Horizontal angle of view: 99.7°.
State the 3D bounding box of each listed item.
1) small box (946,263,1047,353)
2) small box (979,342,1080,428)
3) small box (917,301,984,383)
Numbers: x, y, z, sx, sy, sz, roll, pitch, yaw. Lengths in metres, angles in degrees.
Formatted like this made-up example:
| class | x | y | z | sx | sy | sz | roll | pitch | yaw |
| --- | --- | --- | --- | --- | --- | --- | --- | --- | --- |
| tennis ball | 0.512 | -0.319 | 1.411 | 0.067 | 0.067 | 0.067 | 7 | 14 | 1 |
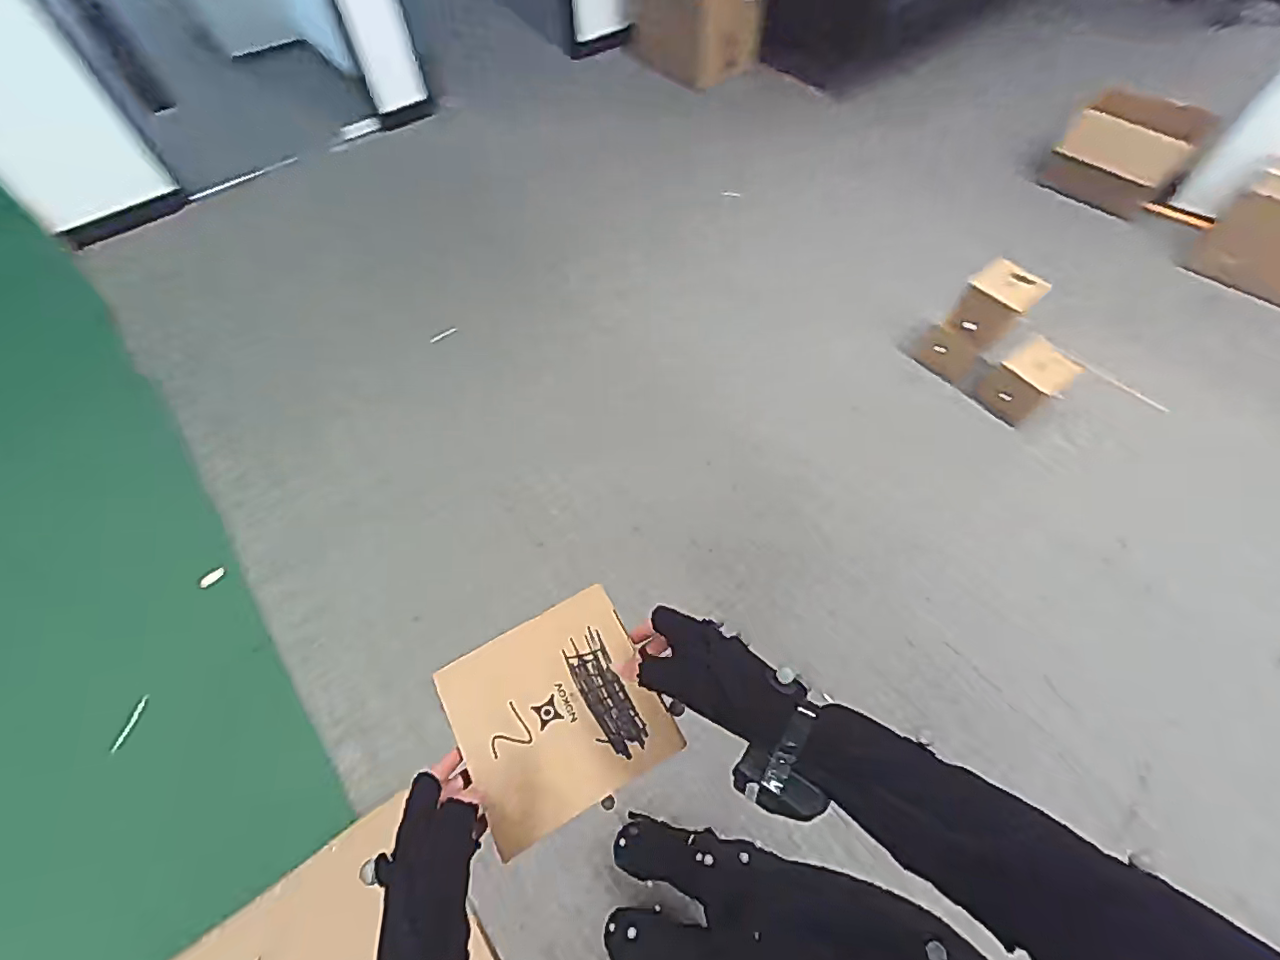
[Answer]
| class | x | y | z | sx | sy | sz | roll | pitch | yaw |
| --- | --- | --- | --- | --- | --- | --- | --- | --- | --- |
| small box | 1.095 | -0.531 | 1.677 | 0.179 | 0.176 | 0.168 | -34 | 63 | -18 |
| small box | 1.226 | -0.298 | 1.721 | 0.179 | 0.176 | 0.168 | -30 | 63 | -16 |
| small box | 1.073 | -0.462 | 1.829 | 0.168 | 0.176 | 0.179 | 40 | 67 | 23 |
